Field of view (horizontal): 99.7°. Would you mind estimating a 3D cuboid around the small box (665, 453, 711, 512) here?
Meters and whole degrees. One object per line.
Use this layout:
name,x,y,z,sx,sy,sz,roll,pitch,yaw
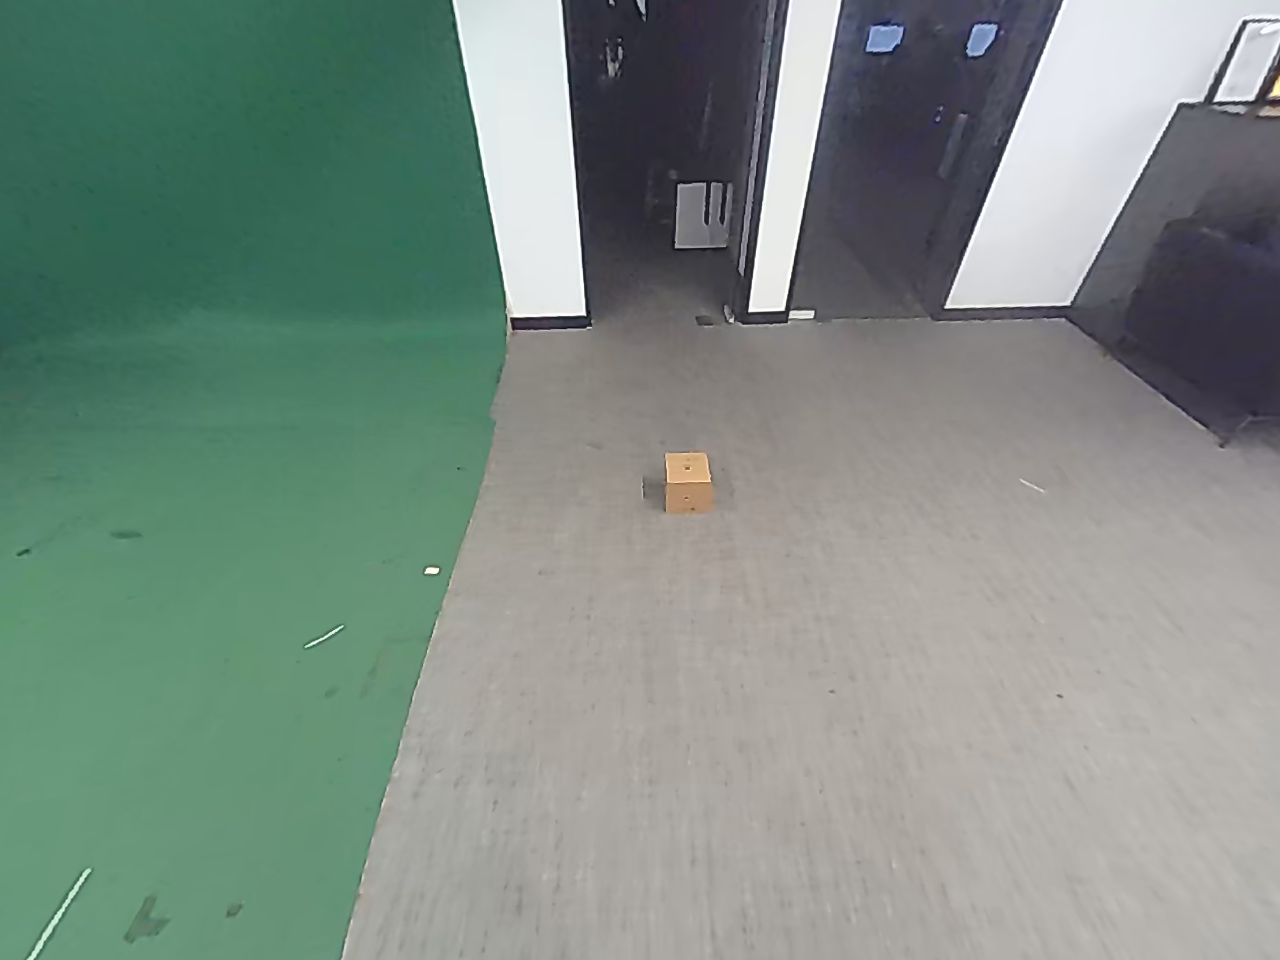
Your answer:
small box,0.185,0.013,2.126,0.168,0.176,0.179,0,43,0
